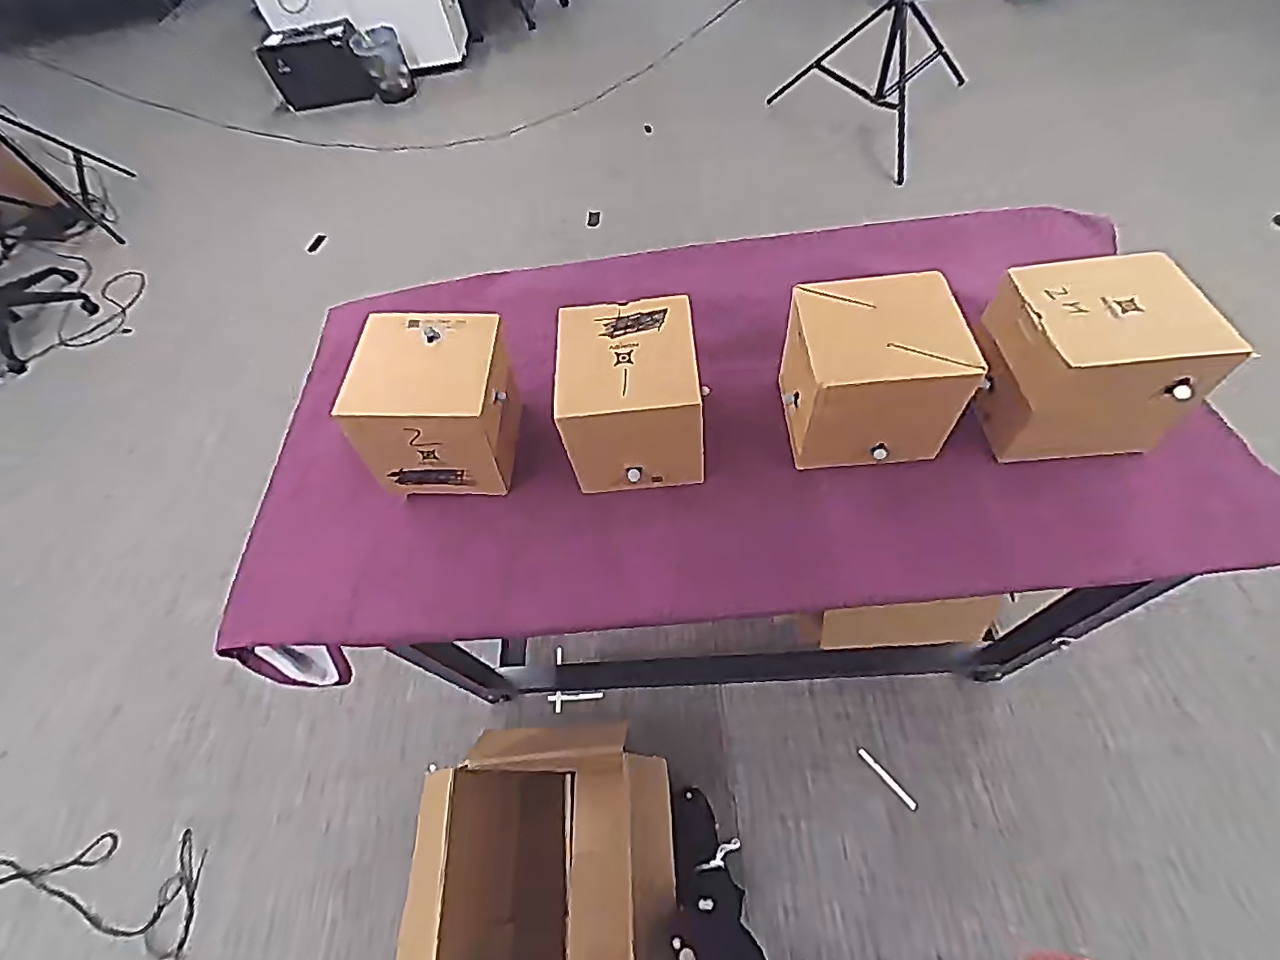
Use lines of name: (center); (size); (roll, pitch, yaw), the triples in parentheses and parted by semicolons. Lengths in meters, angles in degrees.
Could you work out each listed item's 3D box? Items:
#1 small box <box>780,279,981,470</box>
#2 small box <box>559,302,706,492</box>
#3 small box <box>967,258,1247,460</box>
small box: (0.284, -0.131, 0.681); (0.179, 0.176, 0.168); (-4, 56, 6)
small box: (-0.003, -0.104, 0.708); (0.168, 0.176, 0.179); (-5, 58, 5)
small box: (0.527, -0.139, 0.653); (0.179, 0.176, 0.168); (-4, 56, 5)
